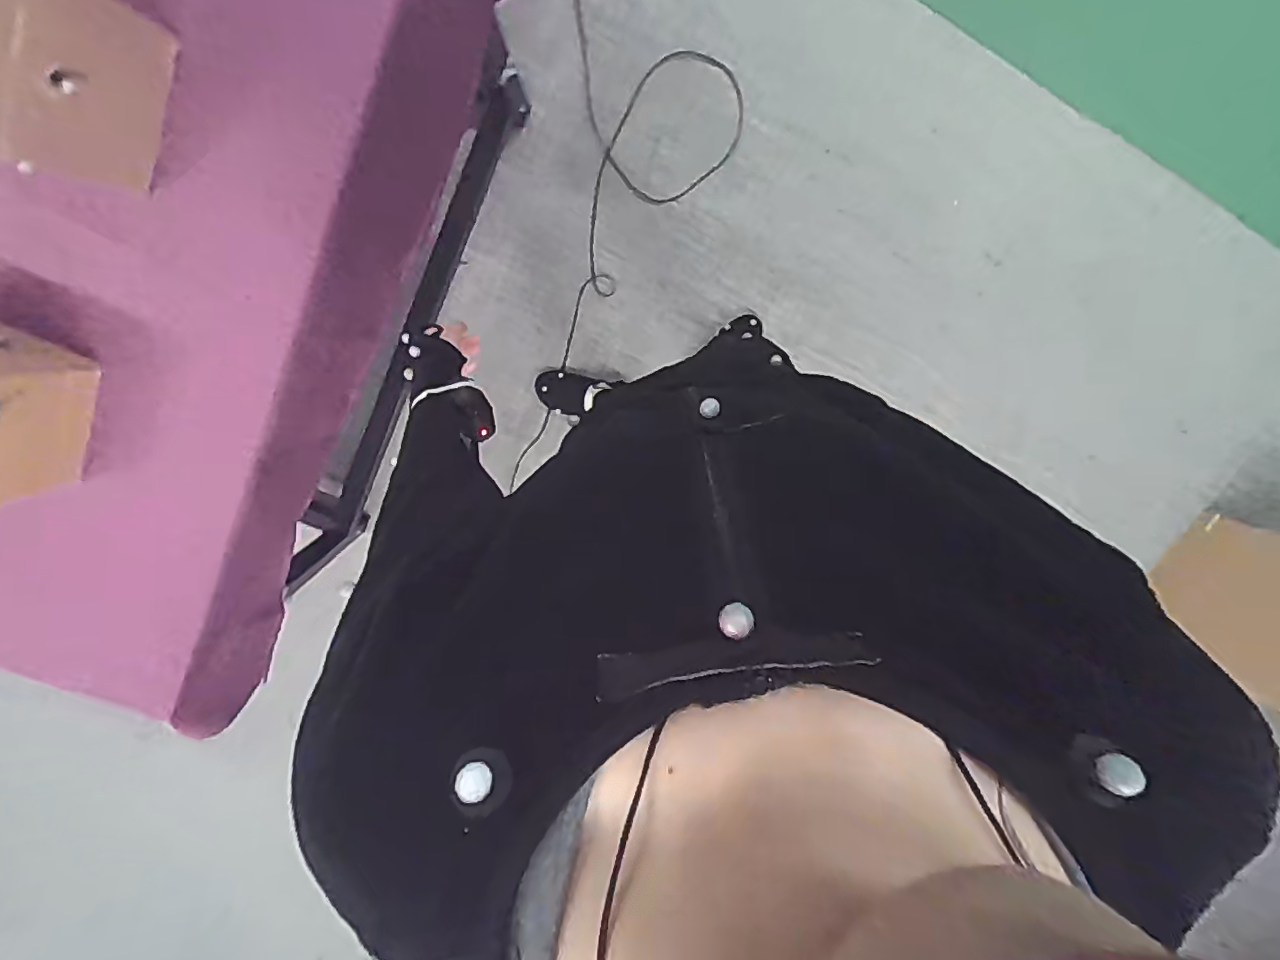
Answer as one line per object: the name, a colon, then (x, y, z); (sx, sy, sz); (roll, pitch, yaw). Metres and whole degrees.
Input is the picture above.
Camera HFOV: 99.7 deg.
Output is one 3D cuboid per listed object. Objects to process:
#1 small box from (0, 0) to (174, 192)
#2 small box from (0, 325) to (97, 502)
small box: (-0.611, -0.414, 0.526); (0.168, 0.176, 0.179); (25, 103, -10)
small box: (-0.788, -0.077, 0.617); (0.168, 0.176, 0.179); (23, 103, -9)
